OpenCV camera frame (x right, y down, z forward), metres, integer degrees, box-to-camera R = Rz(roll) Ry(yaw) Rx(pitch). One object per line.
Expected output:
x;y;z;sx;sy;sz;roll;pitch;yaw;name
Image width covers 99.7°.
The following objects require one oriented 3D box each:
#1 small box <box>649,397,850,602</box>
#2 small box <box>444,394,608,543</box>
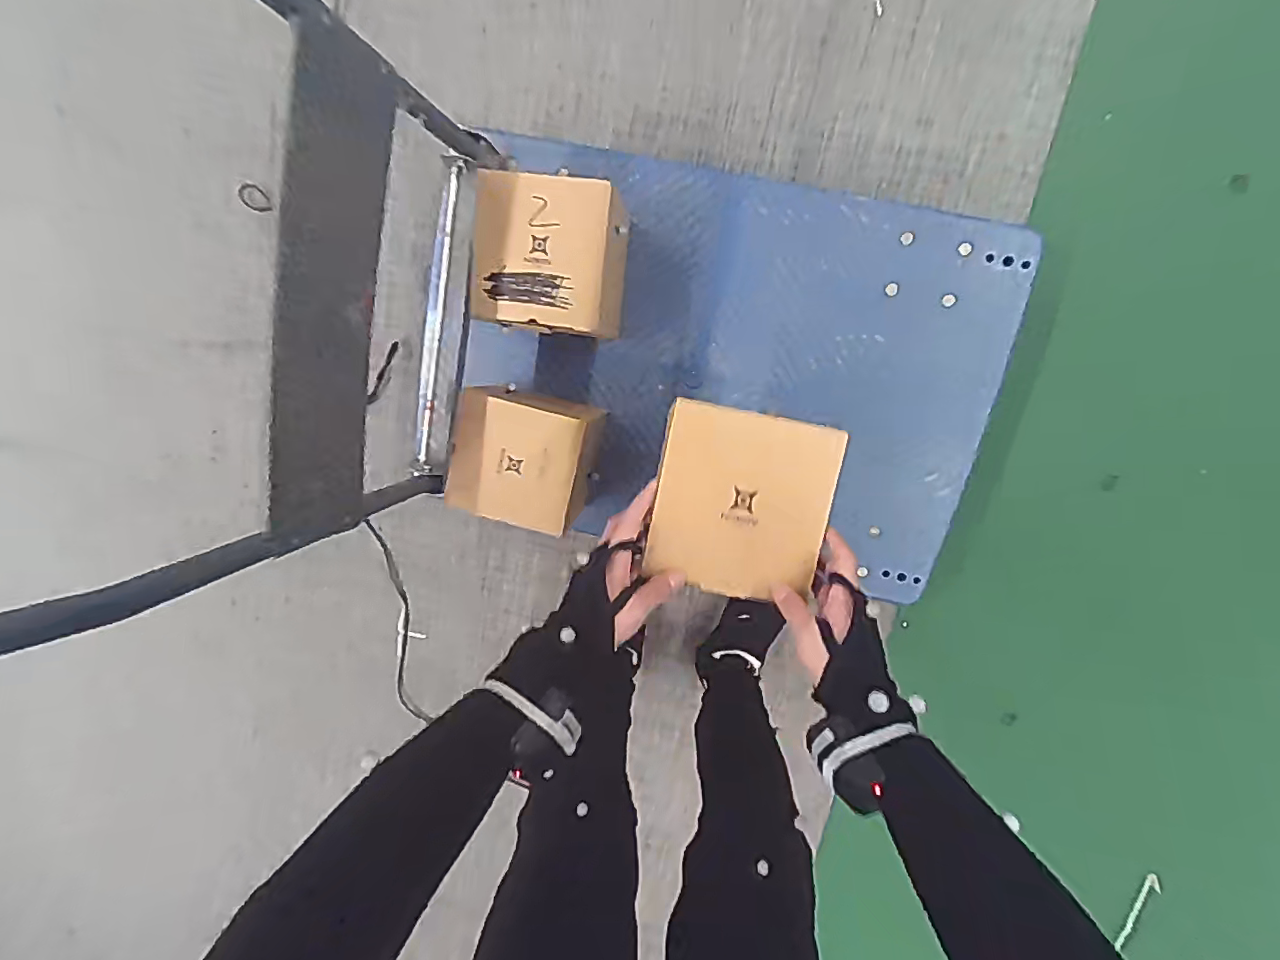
0.105;0.011;0.601;0.168;0.176;0.179;12;97;0;small box
-0.159;-0.028;0.799;0.179;0.176;0.168;15;103;3;small box
